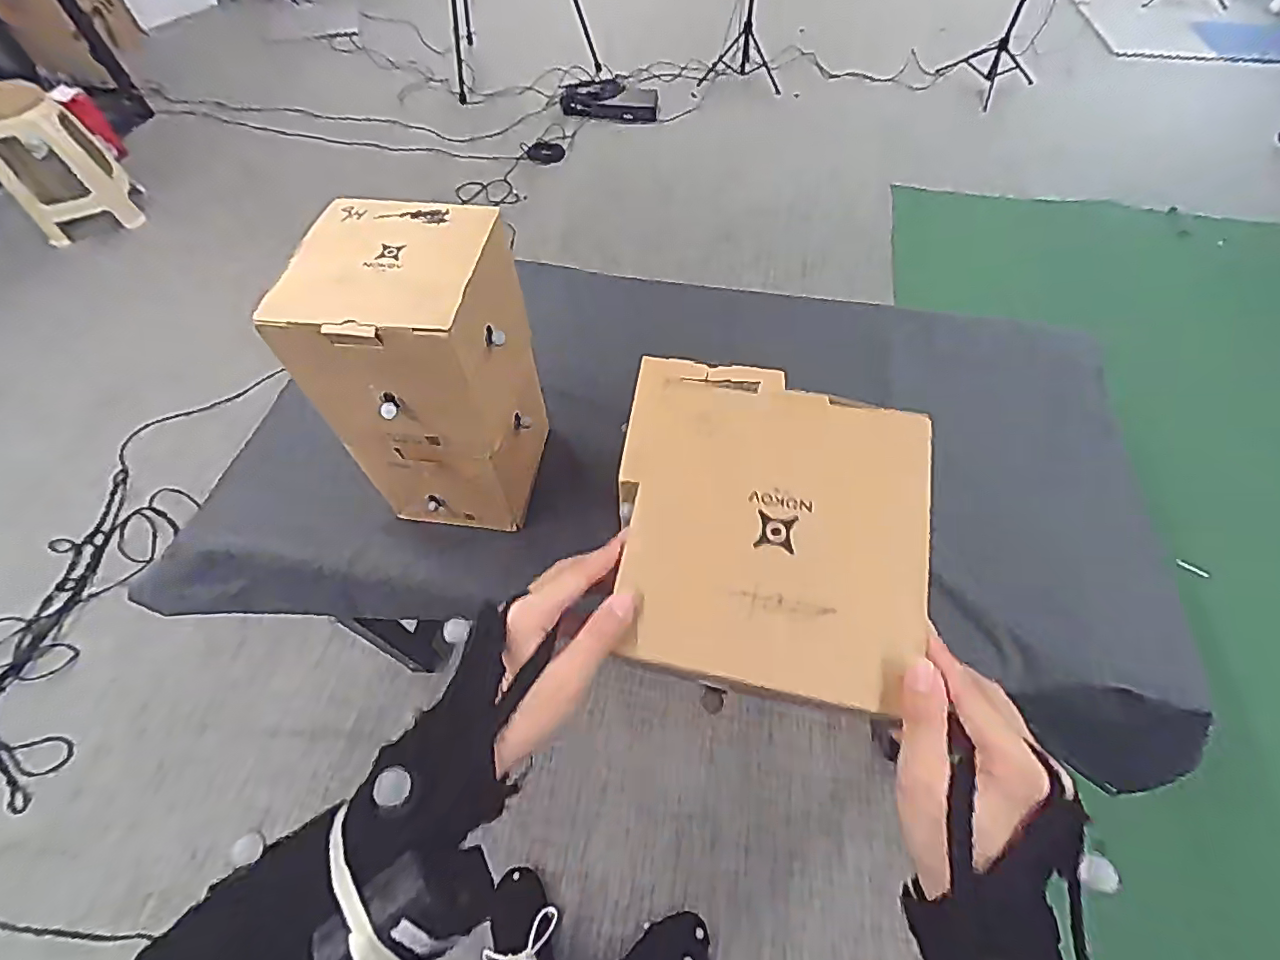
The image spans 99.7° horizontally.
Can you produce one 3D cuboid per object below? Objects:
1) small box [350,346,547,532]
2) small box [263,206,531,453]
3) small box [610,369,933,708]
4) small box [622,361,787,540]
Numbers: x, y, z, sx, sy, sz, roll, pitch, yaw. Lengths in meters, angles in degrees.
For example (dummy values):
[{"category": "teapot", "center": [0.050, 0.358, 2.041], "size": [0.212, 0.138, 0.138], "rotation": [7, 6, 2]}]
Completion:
[{"category": "small box", "center": [-0.219, -0.056, 0.680], "size": [0.168, 0.176, 0.179], "rotation": [6, 57, 4]}, {"category": "small box", "center": [-0.215, -0.144, 0.542], "size": [0.168, 0.176, 0.179], "rotation": [5, 58, 3]}, {"category": "small box", "center": [0.084, 0.051, 0.382], "size": [0.168, 0.176, 0.179], "rotation": [10, 69, 8]}, {"category": "small box", "center": [0.074, -0.013, 0.644], "size": [0.168, 0.176, 0.179], "rotation": [7, 57, 6]}]
